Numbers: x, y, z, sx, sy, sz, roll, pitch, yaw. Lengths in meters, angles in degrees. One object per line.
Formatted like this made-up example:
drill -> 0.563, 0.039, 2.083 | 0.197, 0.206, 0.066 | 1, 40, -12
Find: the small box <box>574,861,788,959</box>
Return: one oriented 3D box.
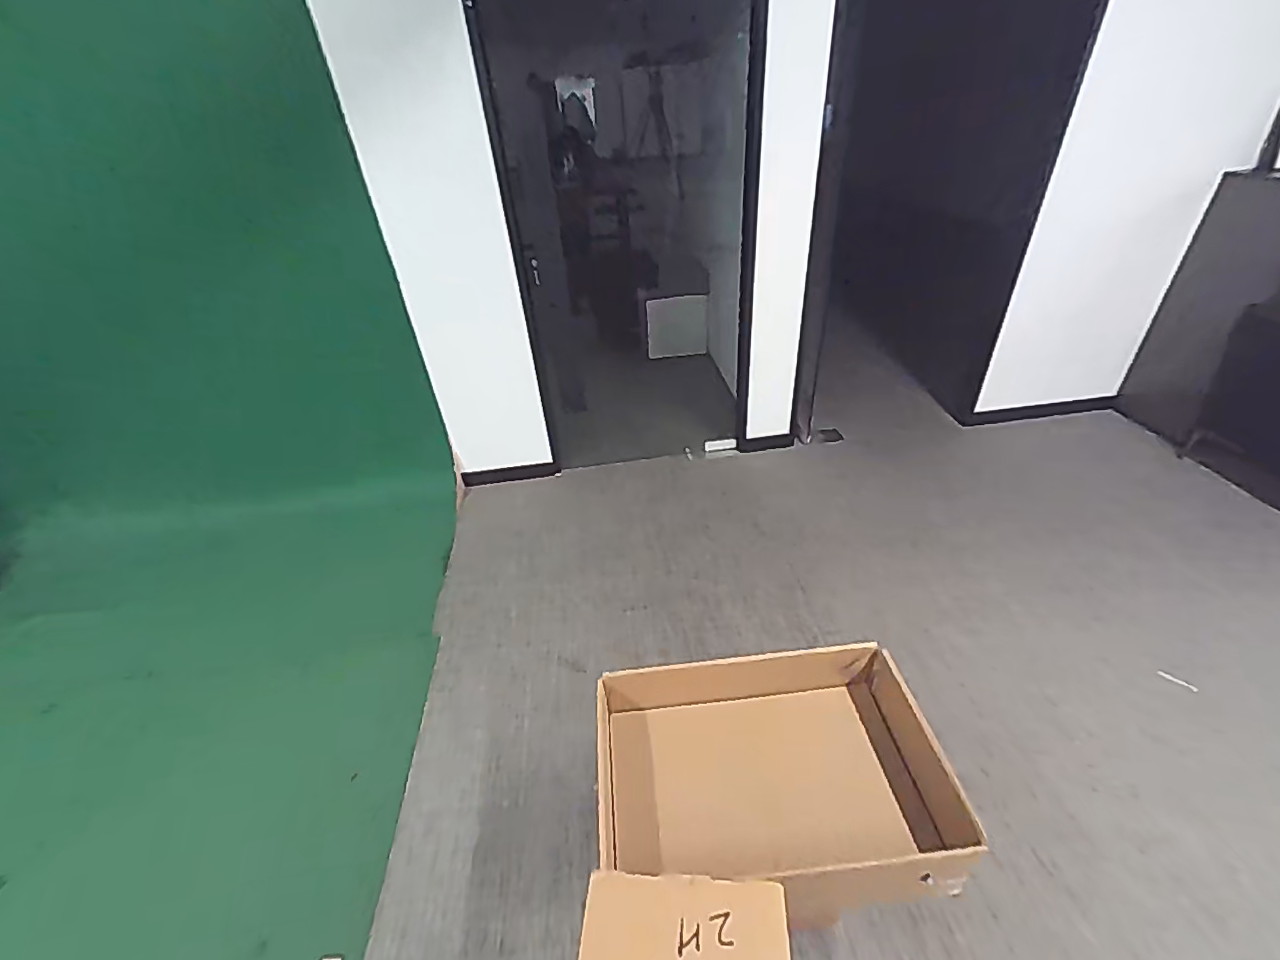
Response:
small box -> 0.035, 0.445, 0.434 | 0.168, 0.176, 0.179 | -1, 33, 7
